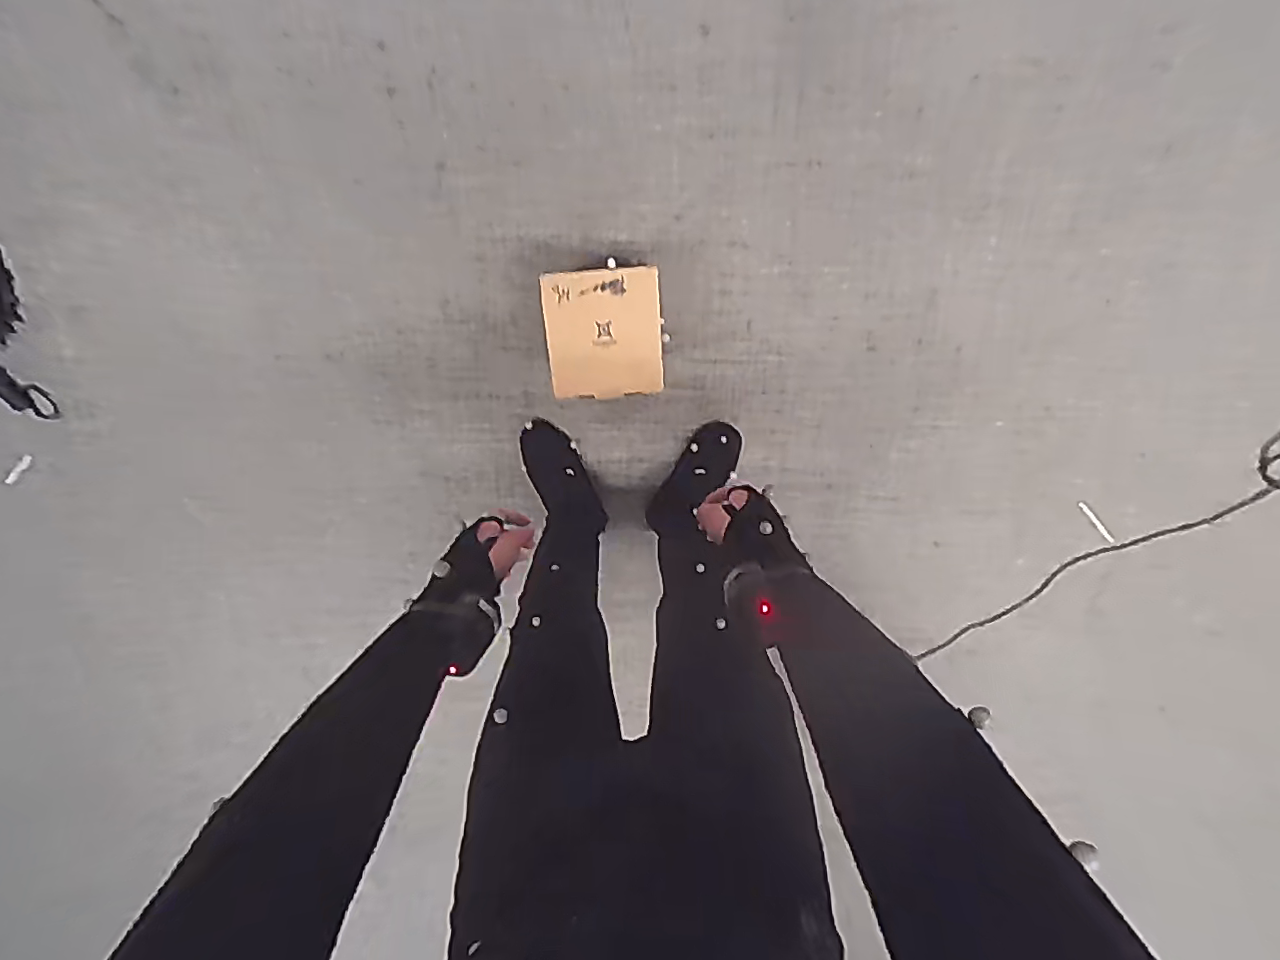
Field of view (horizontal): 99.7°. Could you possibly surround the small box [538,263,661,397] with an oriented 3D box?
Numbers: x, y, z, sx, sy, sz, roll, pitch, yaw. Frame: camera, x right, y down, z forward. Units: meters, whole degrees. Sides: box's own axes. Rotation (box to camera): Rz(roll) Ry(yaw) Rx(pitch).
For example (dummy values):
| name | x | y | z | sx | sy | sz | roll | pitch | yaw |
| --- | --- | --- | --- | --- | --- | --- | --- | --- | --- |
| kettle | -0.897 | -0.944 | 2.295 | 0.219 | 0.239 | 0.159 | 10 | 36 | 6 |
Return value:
| name | x | y | z | sx | sy | sz | roll | pitch | yaw |
| --- | --- | --- | --- | --- | --- | --- | --- | --- | --- |
| small box | -0.052 | -0.238 | 0.842 | 0.168 | 0.176 | 0.179 | -3 | 112 | 3 |
